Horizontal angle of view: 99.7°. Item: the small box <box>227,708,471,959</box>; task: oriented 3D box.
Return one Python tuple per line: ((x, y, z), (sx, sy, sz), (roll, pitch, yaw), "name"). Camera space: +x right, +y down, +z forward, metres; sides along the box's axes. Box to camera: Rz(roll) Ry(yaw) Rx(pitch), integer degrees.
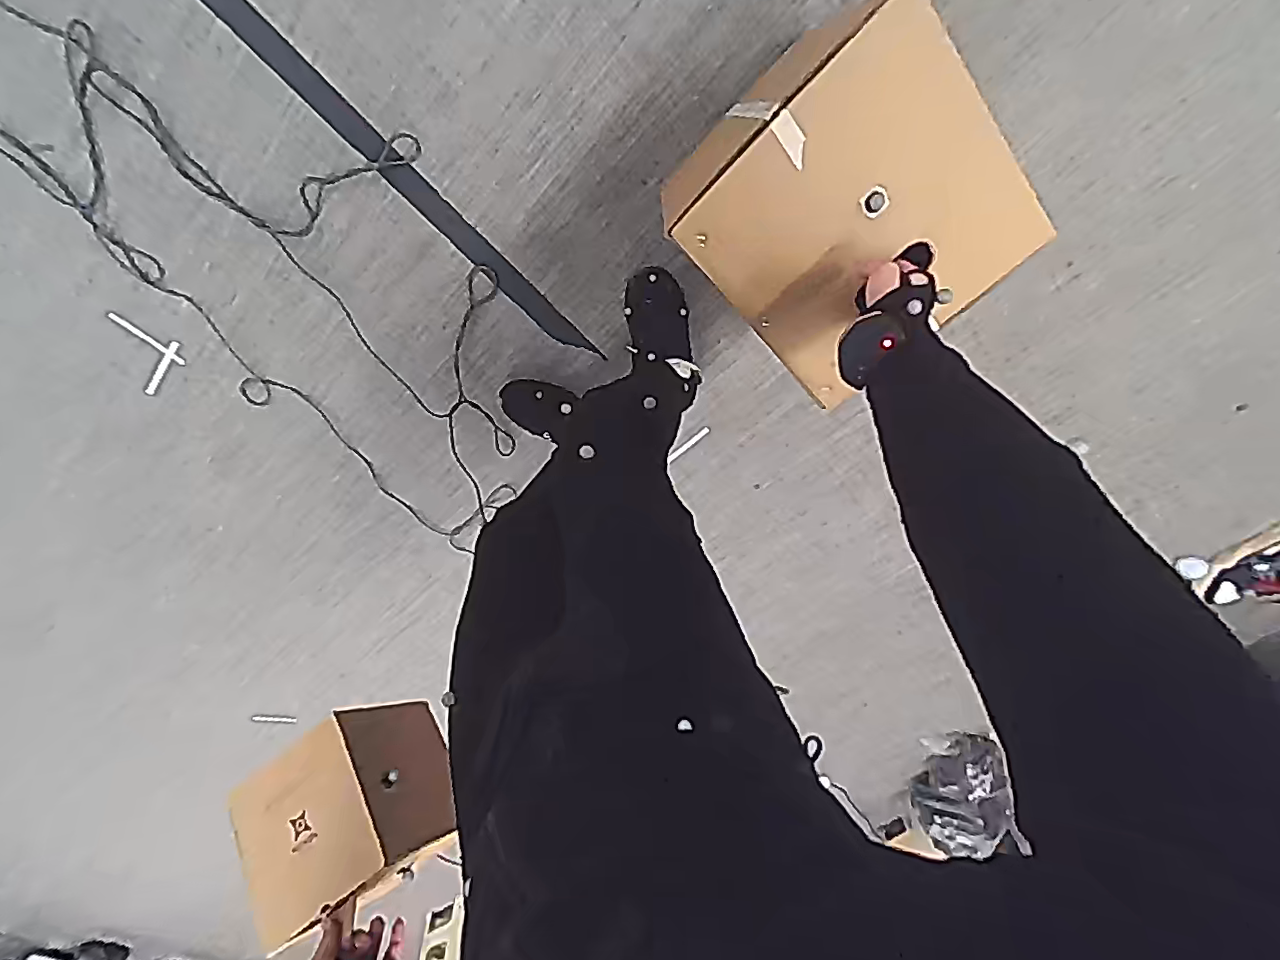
((-0.339, 0.403, 0.654), (0.168, 0.179, 0.176), (-37, 157, 2), "small box")
